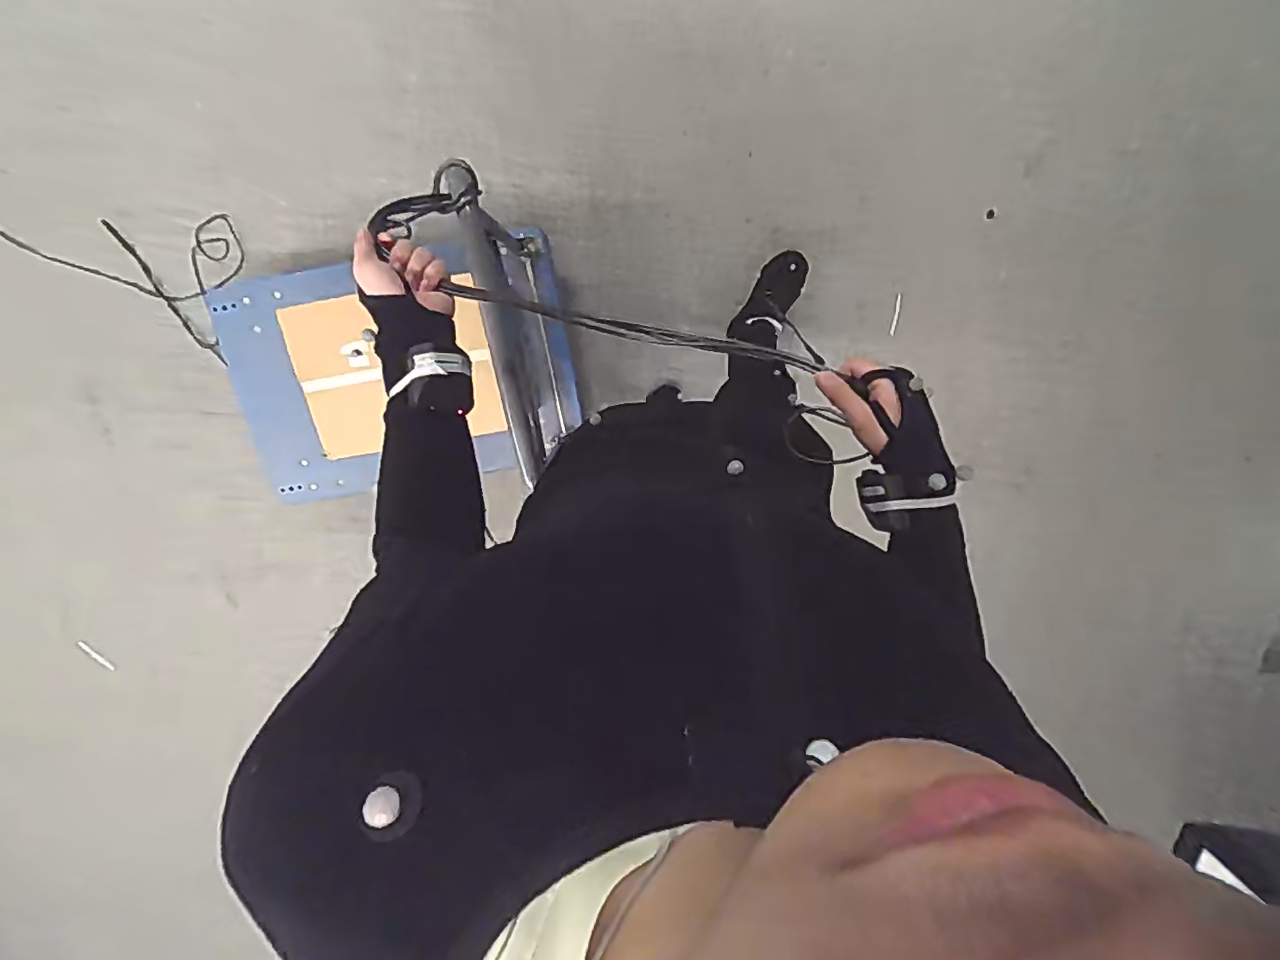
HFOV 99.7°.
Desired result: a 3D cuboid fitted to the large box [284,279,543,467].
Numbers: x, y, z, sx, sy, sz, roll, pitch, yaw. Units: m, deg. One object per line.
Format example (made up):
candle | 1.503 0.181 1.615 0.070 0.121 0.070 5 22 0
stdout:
large box | -0.473 -0.246 1.225 0.408 0.320 0.320 -9 104 5
